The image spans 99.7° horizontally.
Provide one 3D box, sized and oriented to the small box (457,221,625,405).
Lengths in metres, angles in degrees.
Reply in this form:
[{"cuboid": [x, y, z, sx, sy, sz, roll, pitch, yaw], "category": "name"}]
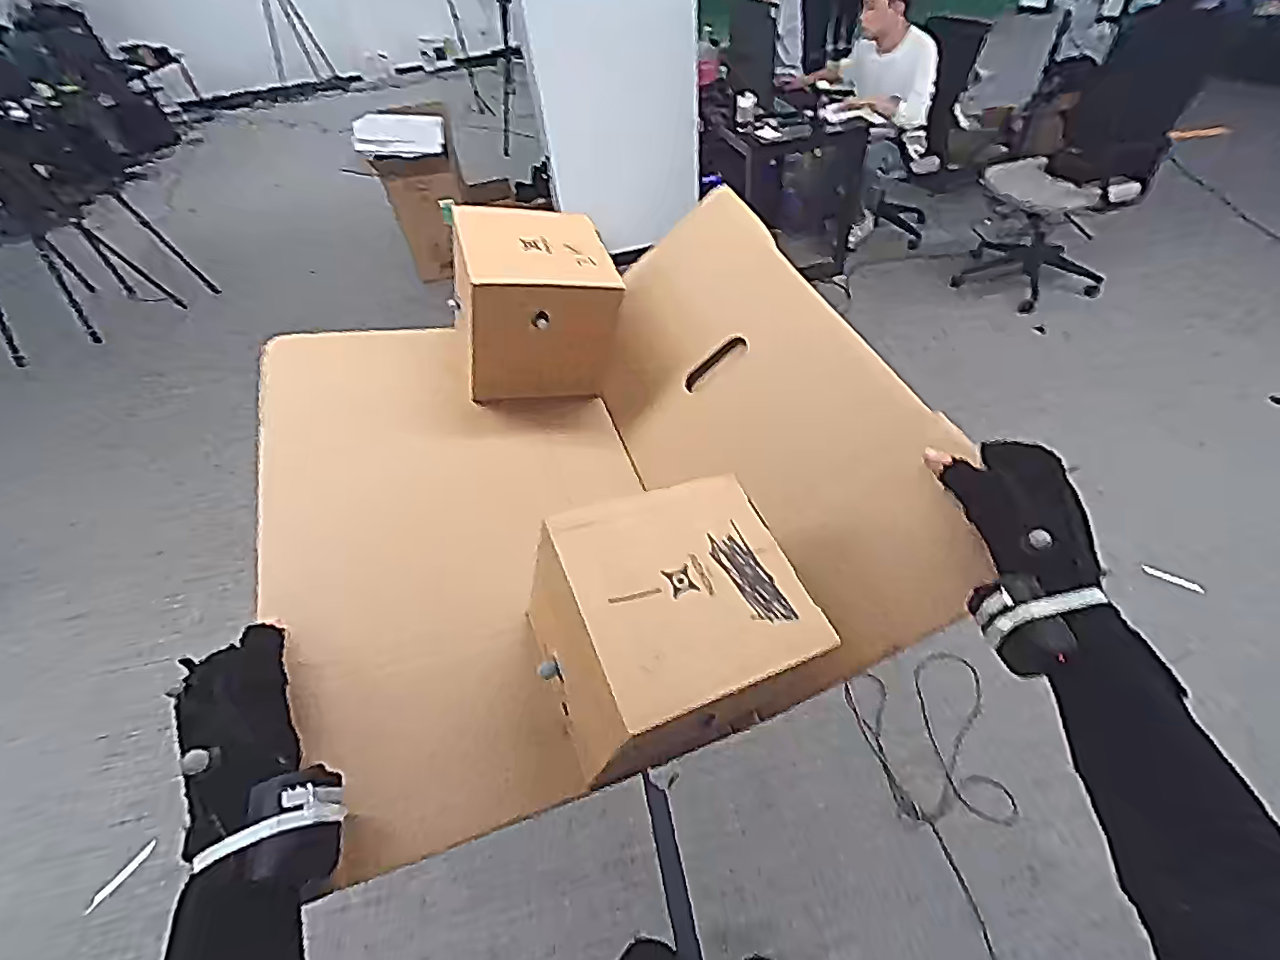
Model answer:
[{"cuboid": [-0.137, -0.211, 0.704, 0.179, 0.176, 0.168, -5, 52, -22], "category": "small box"}]
